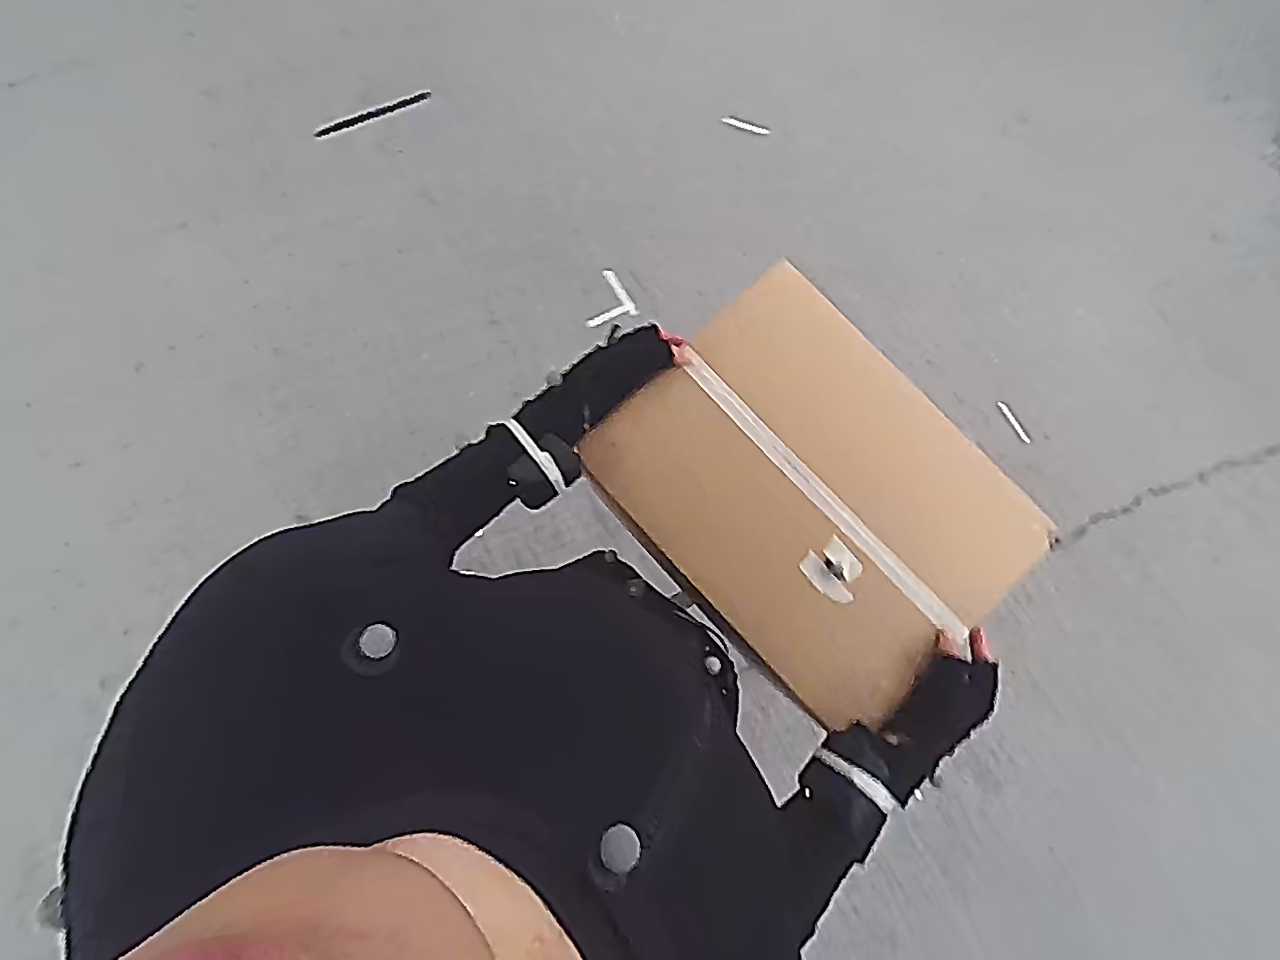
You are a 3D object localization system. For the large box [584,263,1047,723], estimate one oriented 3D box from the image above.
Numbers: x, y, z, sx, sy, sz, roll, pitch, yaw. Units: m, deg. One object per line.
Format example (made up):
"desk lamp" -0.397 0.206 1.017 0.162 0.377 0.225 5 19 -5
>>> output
"large box" 0.178 0.018 0.712 0.320 0.320 0.408 -43 86 -5
